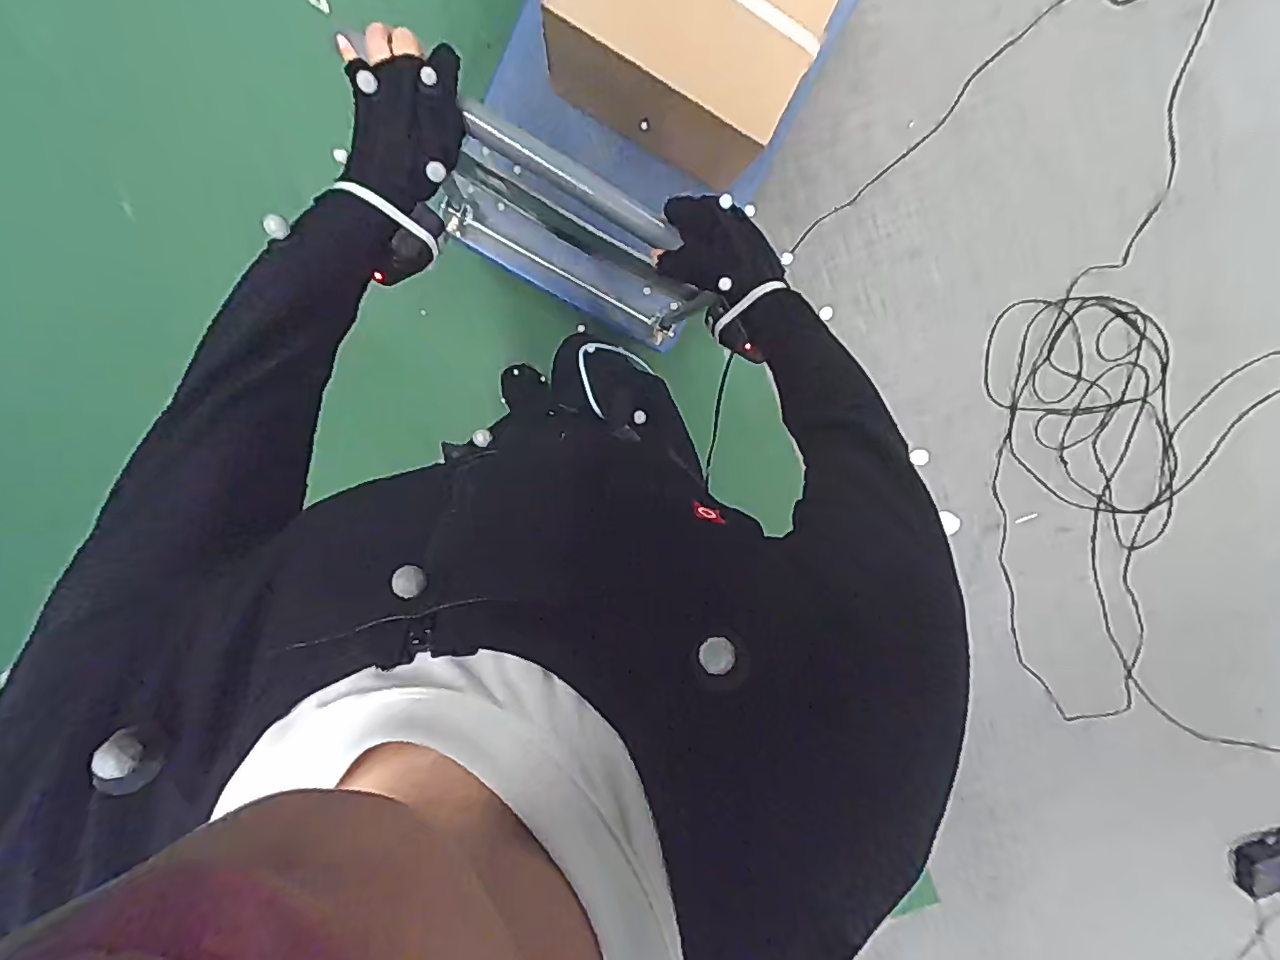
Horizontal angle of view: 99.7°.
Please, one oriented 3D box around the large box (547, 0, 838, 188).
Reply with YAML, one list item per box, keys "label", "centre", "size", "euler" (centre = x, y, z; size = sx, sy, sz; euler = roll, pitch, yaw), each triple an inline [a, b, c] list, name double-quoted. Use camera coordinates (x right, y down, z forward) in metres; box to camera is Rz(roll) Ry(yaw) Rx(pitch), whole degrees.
- label: "large box"
  centre: [0.089, -0.804, 0.973]
  size: [0.408, 0.320, 0.320]
  euler: [25, 101, -12]
